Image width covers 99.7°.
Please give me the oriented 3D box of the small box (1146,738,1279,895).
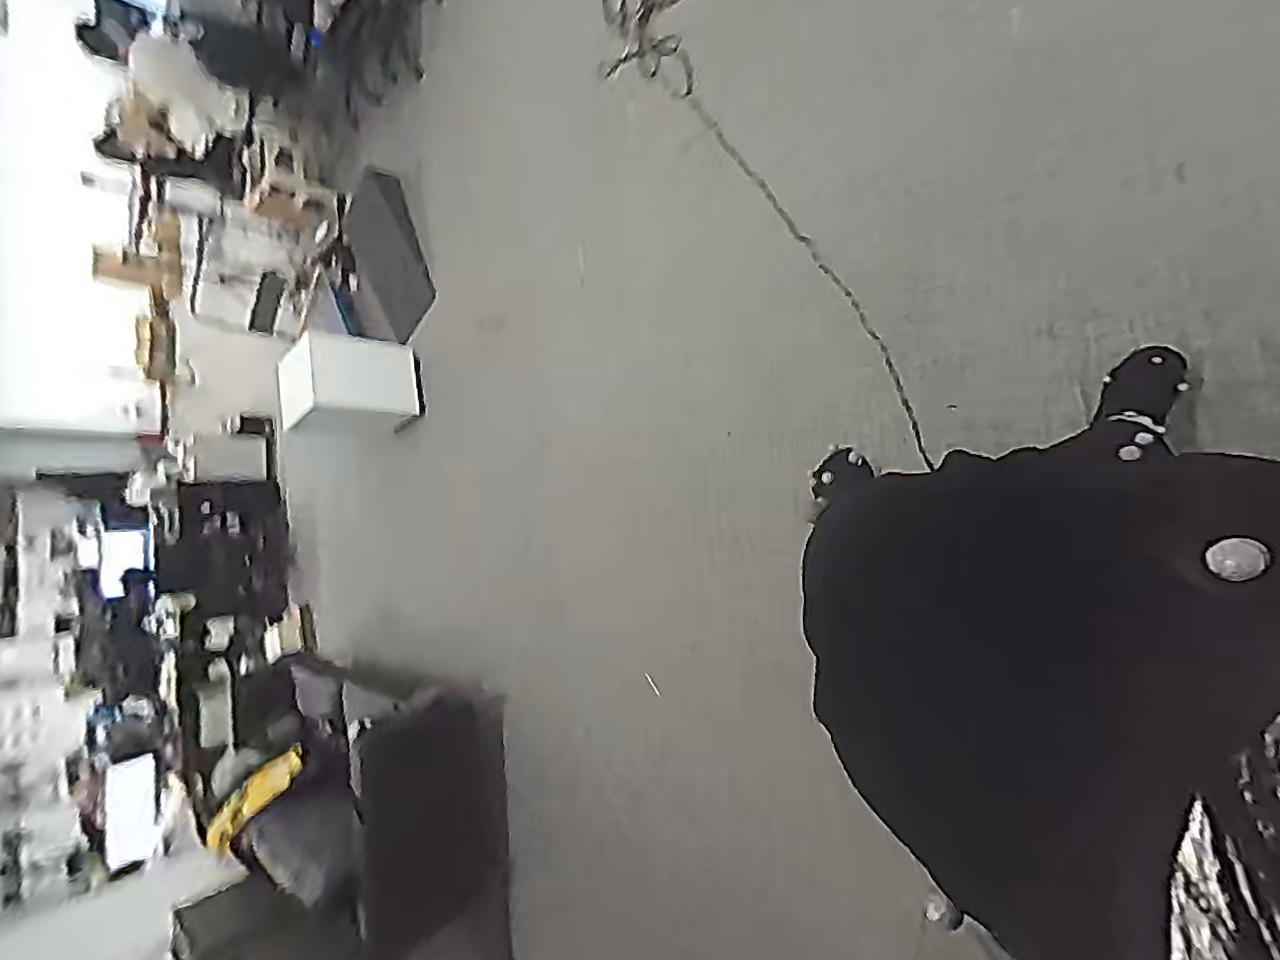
[{"bbox_3d":[1.065,0.610,1.009,0.168,0.176,0.179,-6,86,43],"label":"small box"}]
